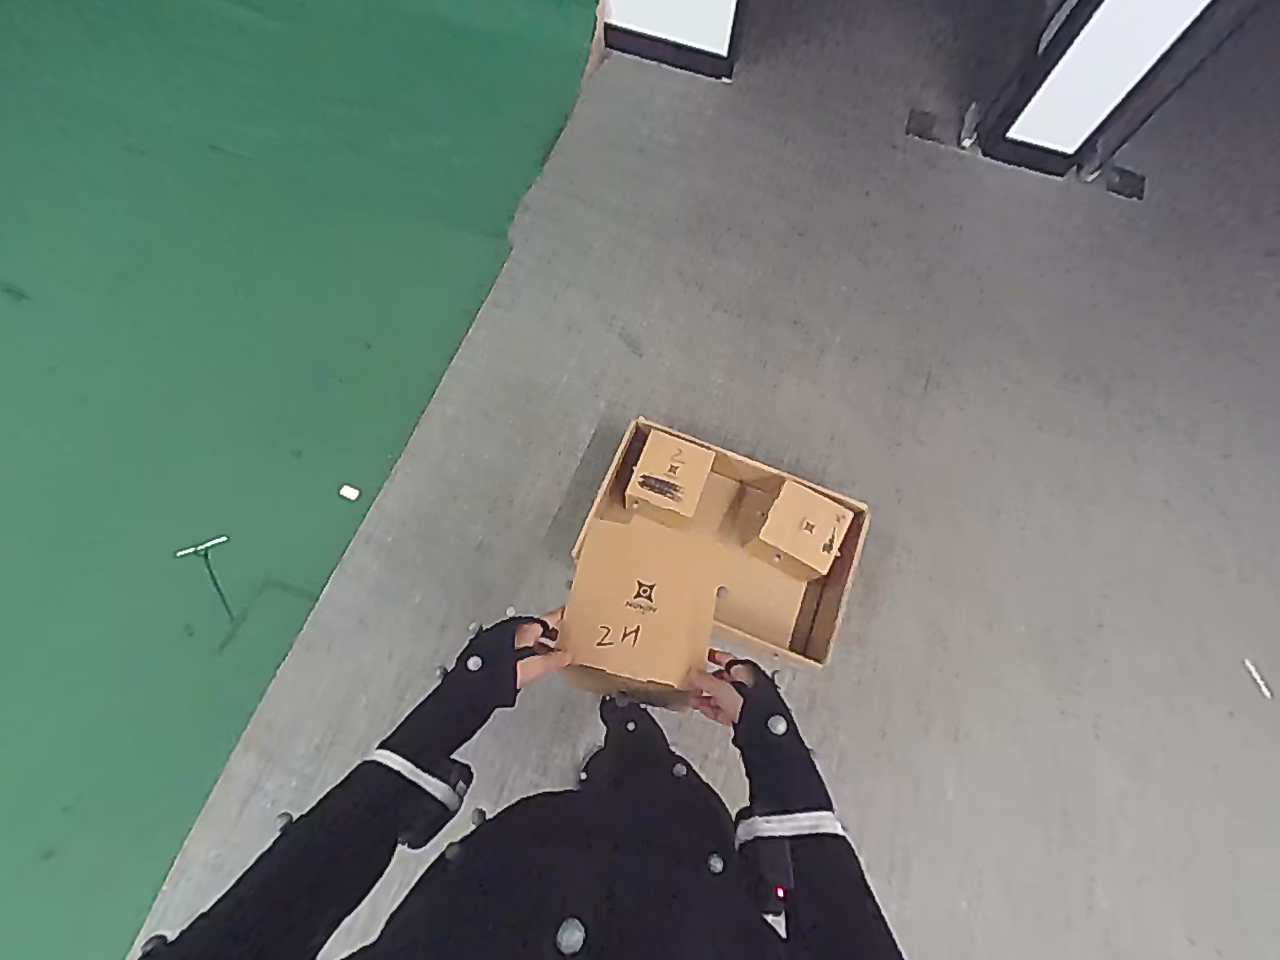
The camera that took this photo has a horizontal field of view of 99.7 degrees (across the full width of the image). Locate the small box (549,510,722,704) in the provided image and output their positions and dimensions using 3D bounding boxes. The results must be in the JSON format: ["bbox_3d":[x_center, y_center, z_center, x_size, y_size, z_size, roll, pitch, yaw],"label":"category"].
[{"bbox_3d":[-0.003,0.165,0.681,0.168,0.176,0.179,12,61,6],"label":"small box"}]

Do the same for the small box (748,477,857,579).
[{"bbox_3d":[0.382,0.124,1.305,0.179,0.176,0.168,30,76,9],"label":"small box"}]
